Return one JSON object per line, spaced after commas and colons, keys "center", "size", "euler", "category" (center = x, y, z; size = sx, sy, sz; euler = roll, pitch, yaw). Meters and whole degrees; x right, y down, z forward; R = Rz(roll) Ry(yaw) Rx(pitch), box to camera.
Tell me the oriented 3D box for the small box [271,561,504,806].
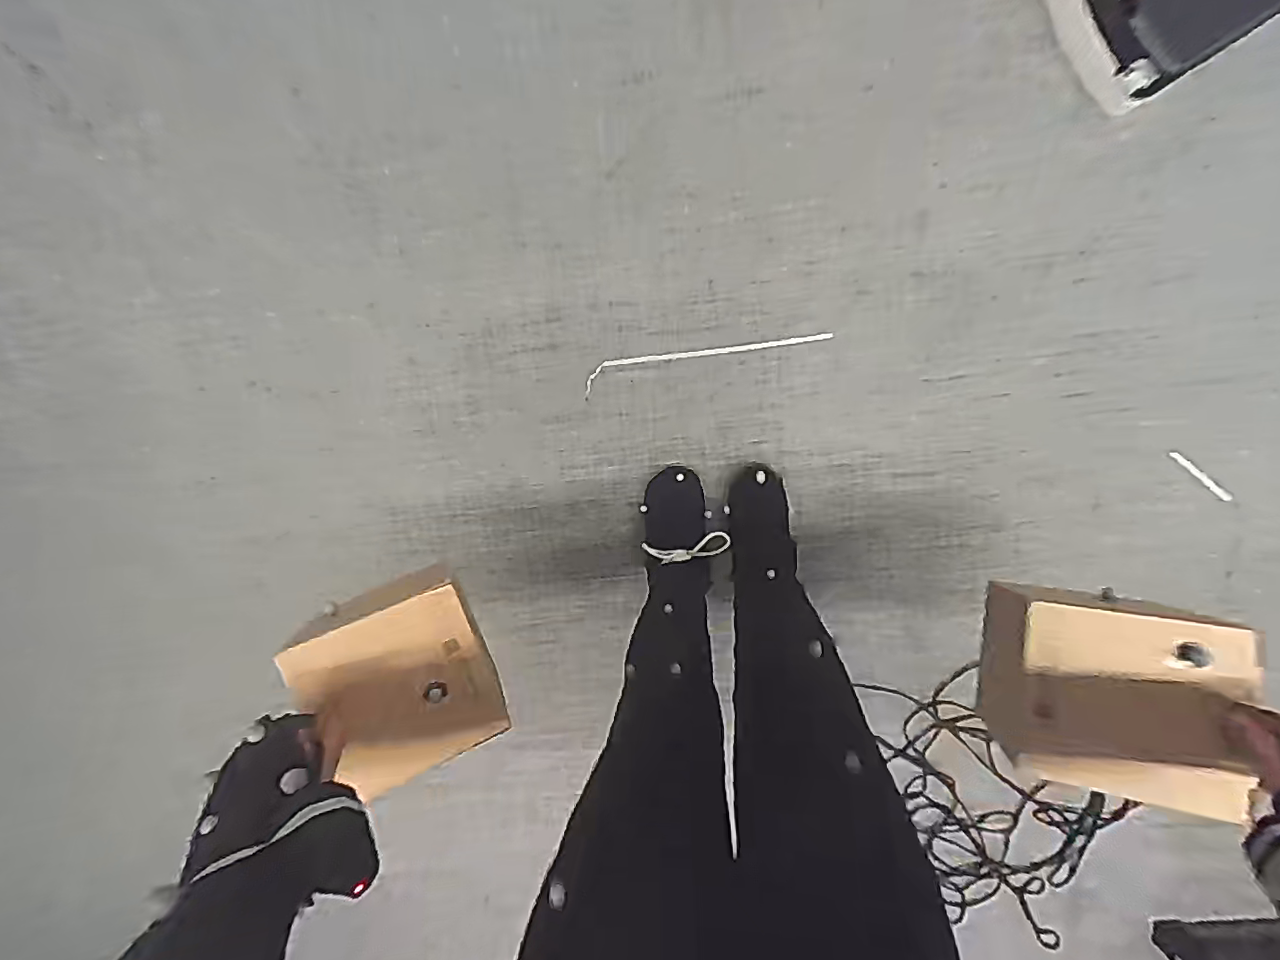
{"center": [-0.261, 0.203, 0.599], "size": [0.176, 0.179, 0.168], "euler": [-22, 98, -18], "category": "small box"}
